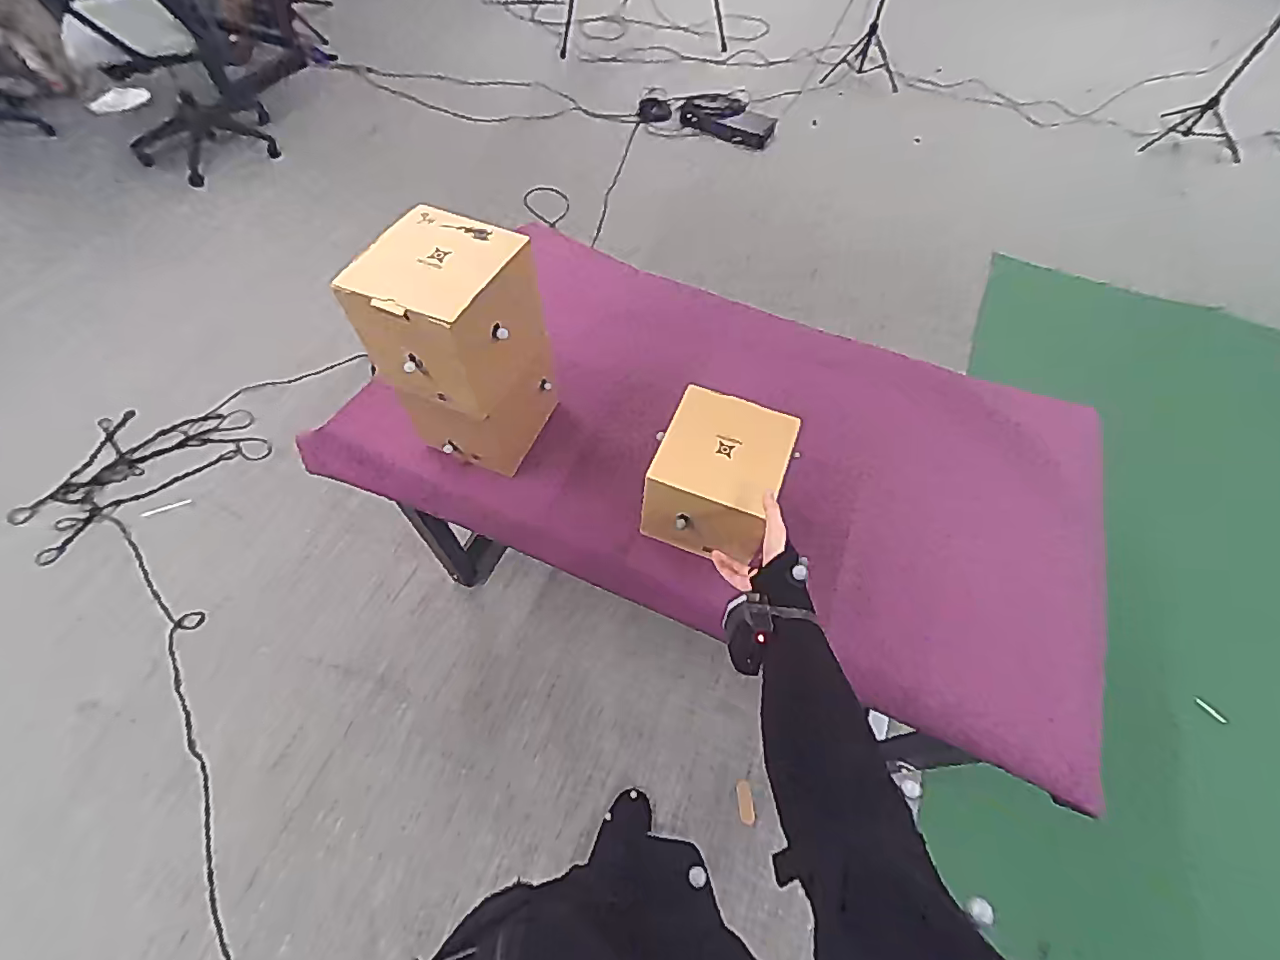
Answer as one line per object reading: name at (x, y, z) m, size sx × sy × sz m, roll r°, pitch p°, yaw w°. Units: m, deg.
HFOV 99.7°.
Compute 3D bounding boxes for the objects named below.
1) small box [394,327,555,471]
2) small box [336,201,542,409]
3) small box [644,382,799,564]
small box at (-0.245, -0.146, 0.853) m, size 0.168 × 0.176 × 0.179 m, roll 20°, pitch 60°, yaw 10°
small box at (-0.242, -0.223, 0.709) m, size 0.168 × 0.176 × 0.179 m, roll 22°, pitch 61°, yaw 11°
small box at (0.111, -0.004, 0.782) m, size 0.168 × 0.176 × 0.179 m, roll 20°, pitch 58°, yaw 10°
